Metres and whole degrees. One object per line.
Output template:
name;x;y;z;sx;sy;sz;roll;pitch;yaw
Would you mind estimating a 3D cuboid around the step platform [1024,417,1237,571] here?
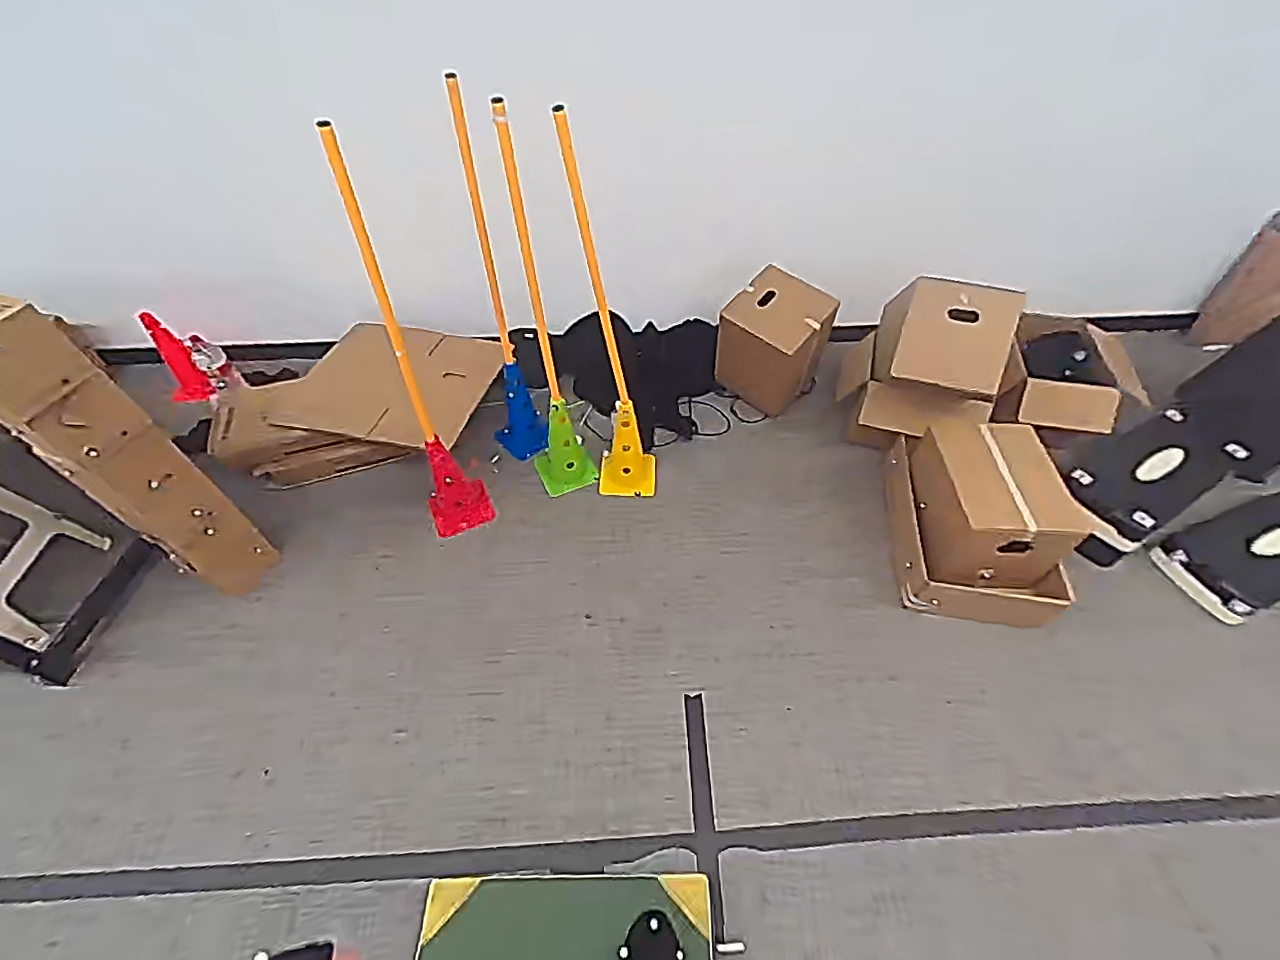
step platform;1.685;0.031;1.858;0.684;0.204;0.286;-25;55;-19
